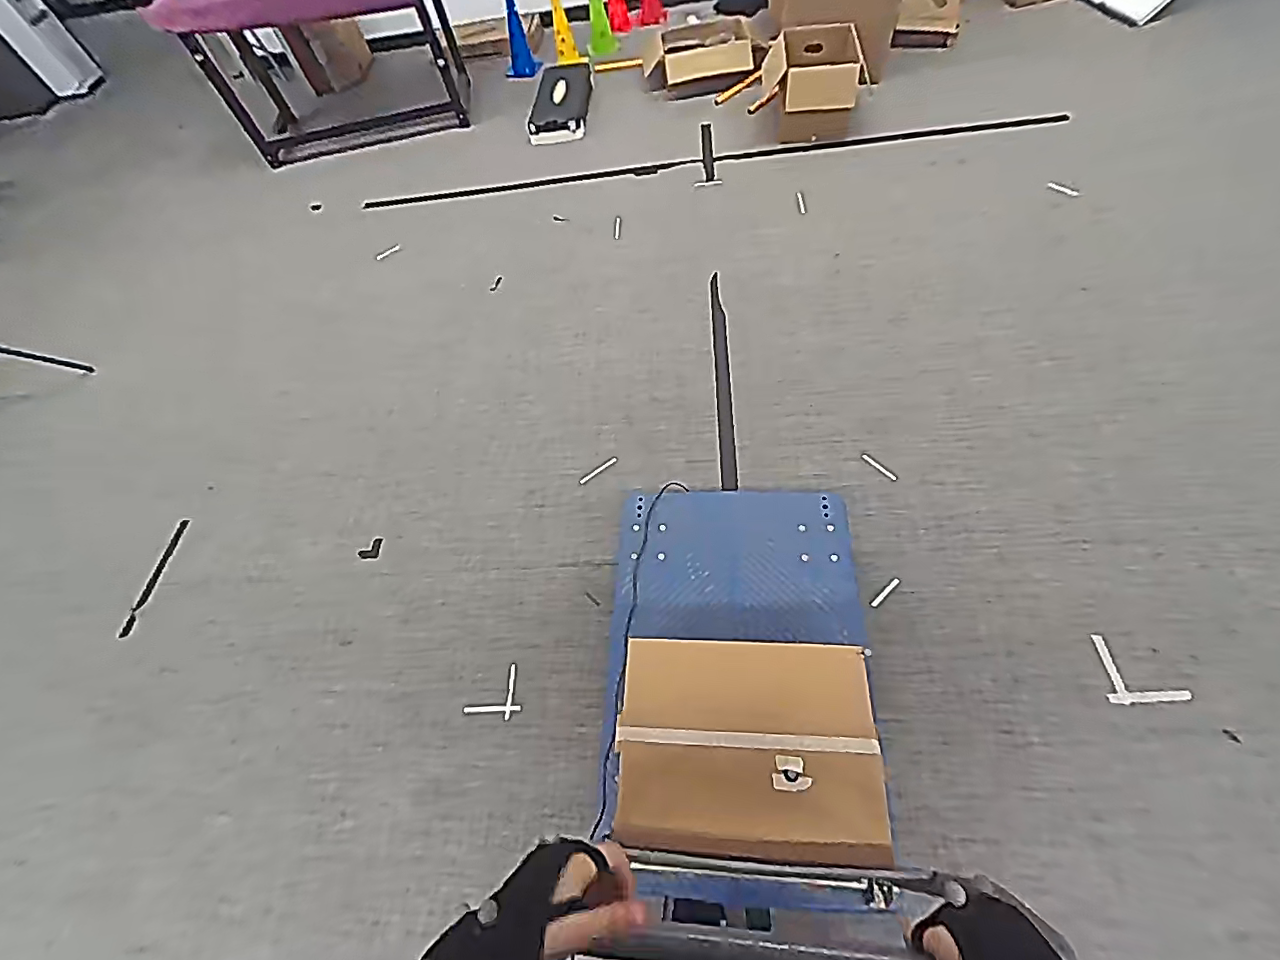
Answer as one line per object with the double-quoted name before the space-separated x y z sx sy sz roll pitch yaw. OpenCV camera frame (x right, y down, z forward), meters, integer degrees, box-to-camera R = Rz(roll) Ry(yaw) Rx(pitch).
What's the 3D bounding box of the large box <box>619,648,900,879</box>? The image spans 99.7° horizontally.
"large box" 0.185 0.501 0.968 0.408 0.320 0.320 0 58 7
